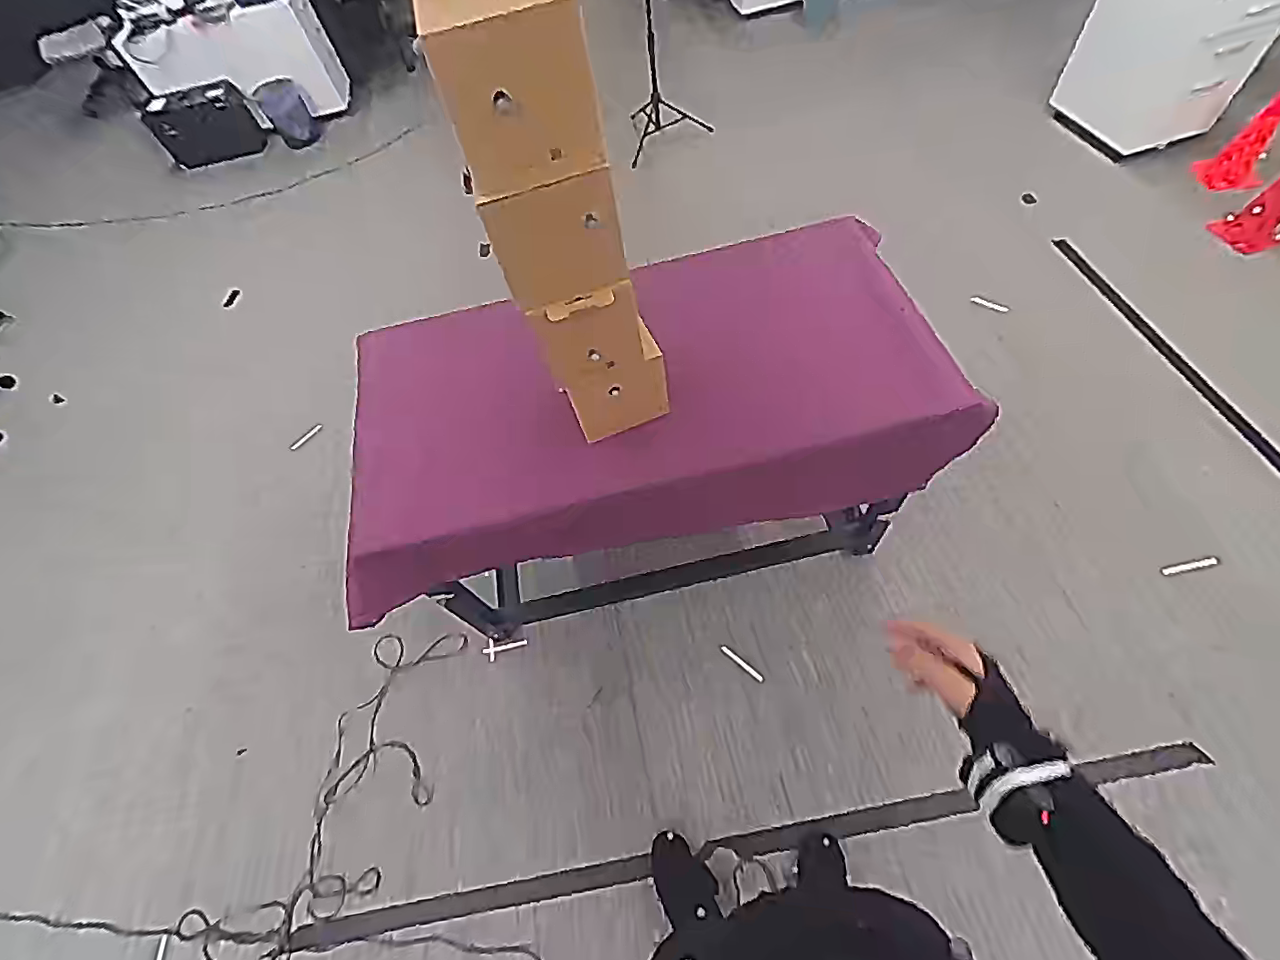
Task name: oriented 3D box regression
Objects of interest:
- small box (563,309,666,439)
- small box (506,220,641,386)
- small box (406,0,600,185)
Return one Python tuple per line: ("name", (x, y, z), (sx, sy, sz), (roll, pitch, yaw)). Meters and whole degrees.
("small box", (-0.063, -0.207, 1.039), (0.179, 0.176, 0.168), (-22, 59, -6))
("small box", (-0.107, -0.290, 0.902), (0.168, 0.176, 0.179), (-19, 59, -2))
("small box", (-0.155, -0.478, 0.638), (0.168, 0.176, 0.179), (-18, 57, -2))
